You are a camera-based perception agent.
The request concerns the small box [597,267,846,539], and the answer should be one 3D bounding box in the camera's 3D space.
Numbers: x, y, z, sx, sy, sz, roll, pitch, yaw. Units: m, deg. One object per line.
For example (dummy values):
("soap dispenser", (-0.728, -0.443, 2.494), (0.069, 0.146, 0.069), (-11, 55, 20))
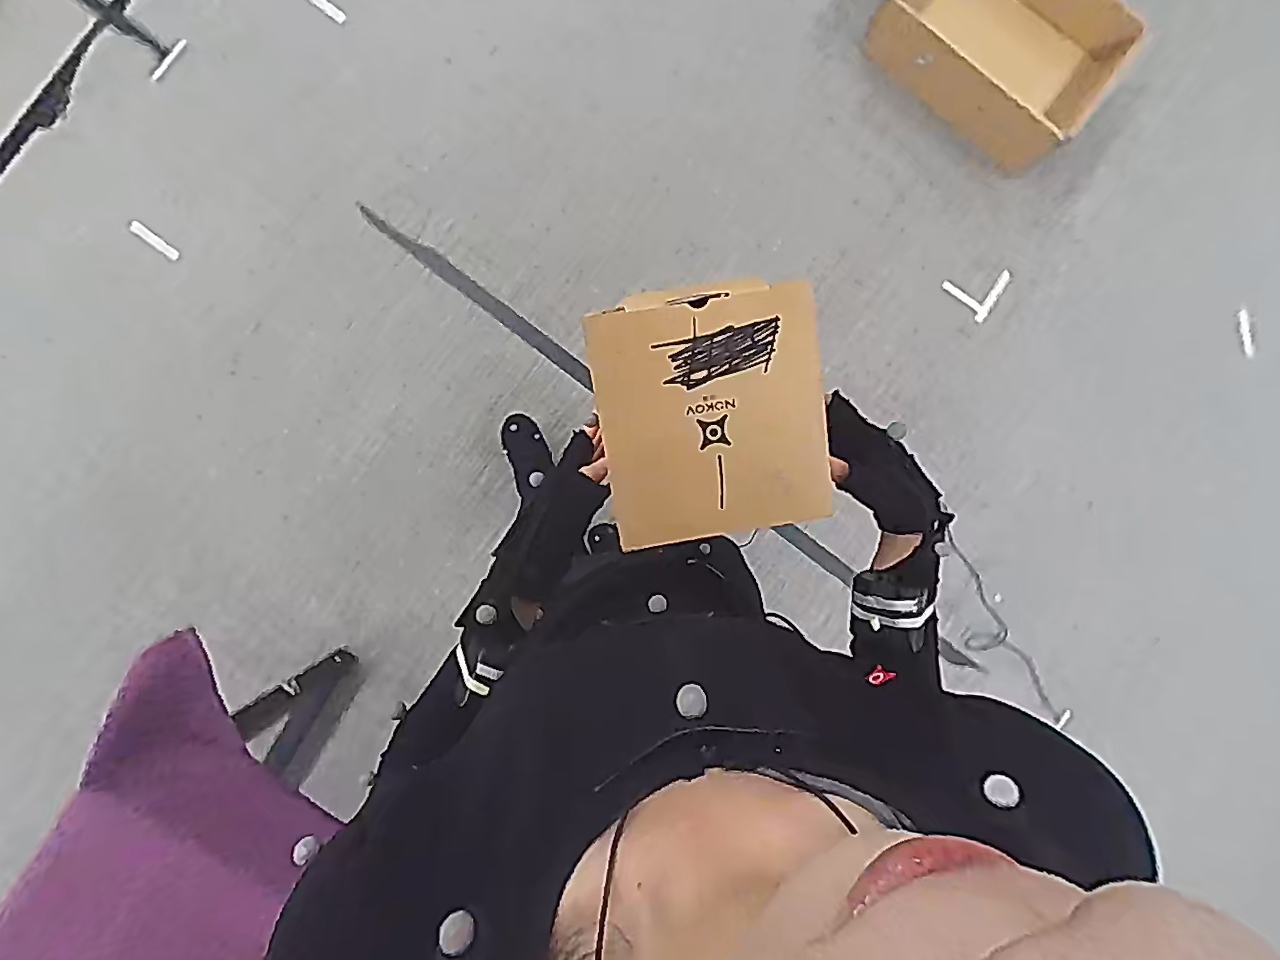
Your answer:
("small box", (0.057, -0.063, 0.464), (0.168, 0.176, 0.179), (-9, 99, 0))
